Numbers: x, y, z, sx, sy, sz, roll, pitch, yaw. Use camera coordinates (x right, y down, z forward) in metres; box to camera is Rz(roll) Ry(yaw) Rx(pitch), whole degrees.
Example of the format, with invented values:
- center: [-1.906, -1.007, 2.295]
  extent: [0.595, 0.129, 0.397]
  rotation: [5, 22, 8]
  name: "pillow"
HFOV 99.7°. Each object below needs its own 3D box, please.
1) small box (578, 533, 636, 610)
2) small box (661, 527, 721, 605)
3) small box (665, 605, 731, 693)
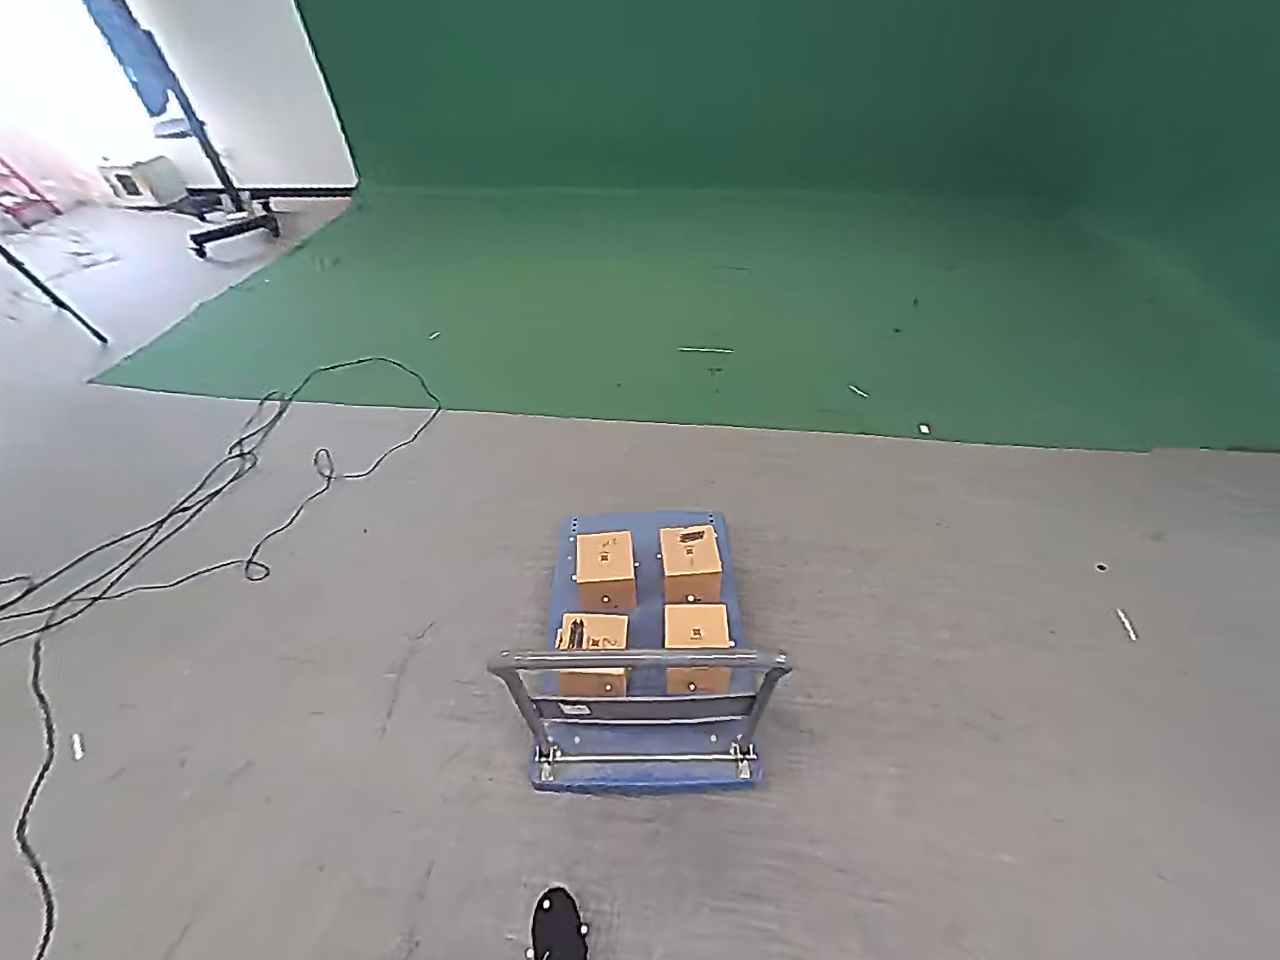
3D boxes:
- center: [-0.099, 0.286, 1.663]
  extent: [0.168, 0.176, 0.179]
  rotation: [-4, 45, -2]
  name: "small box"
- center: [0.152, 0.267, 1.668]
  extent: [0.168, 0.176, 0.179]
  rotation: [-5, 46, 0]
  name: "small box"
- center: [0.153, 0.461, 1.479]
  extent: [0.168, 0.176, 0.179]
  rotation: [-1, 46, 2]
  name: "small box"
